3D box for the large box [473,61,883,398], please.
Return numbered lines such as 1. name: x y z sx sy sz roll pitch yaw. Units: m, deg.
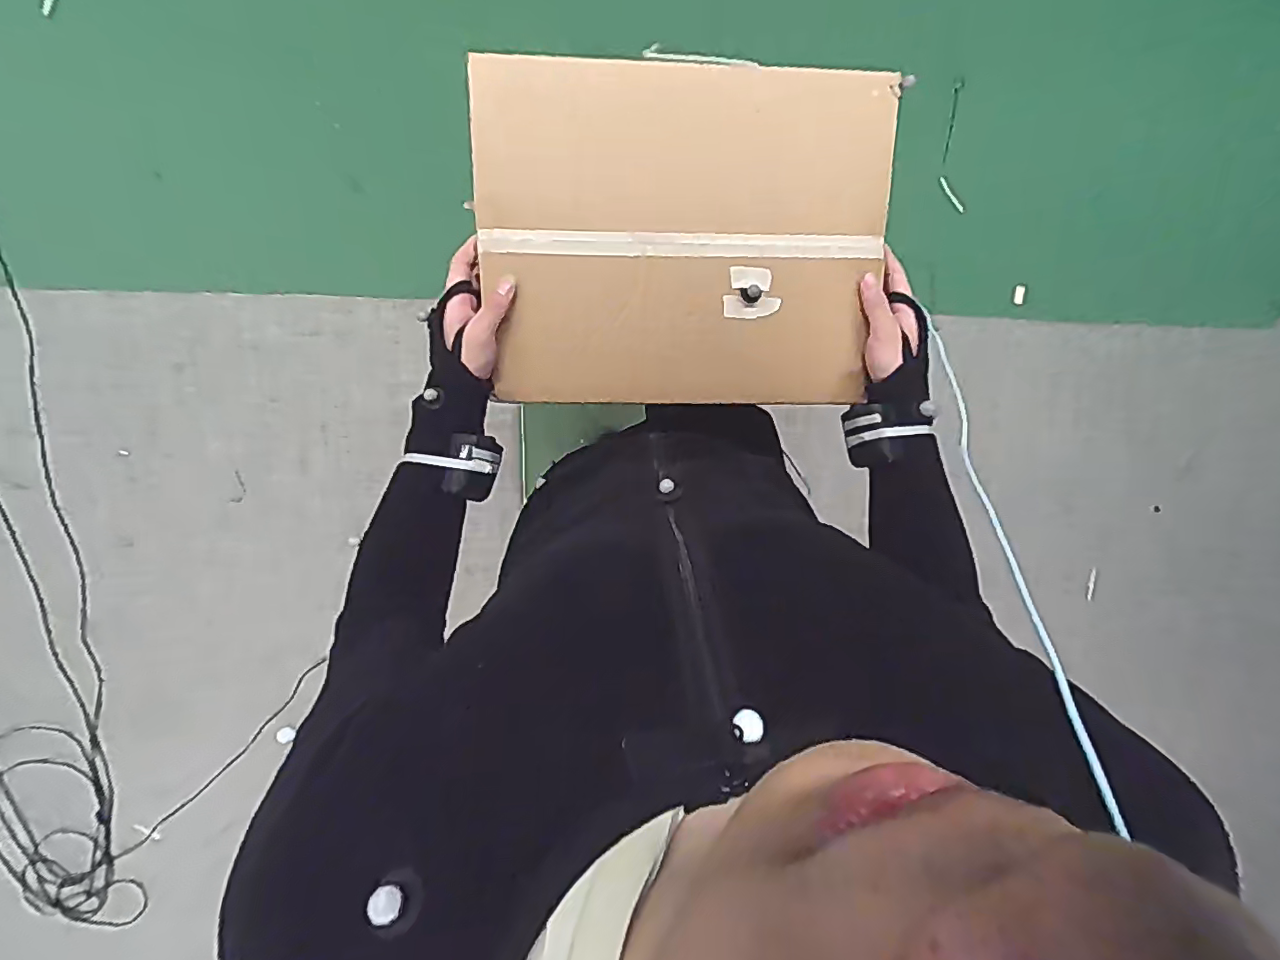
1. large box: 0.030 -0.274 0.691 0.408 0.320 0.320 -1 103 -5
